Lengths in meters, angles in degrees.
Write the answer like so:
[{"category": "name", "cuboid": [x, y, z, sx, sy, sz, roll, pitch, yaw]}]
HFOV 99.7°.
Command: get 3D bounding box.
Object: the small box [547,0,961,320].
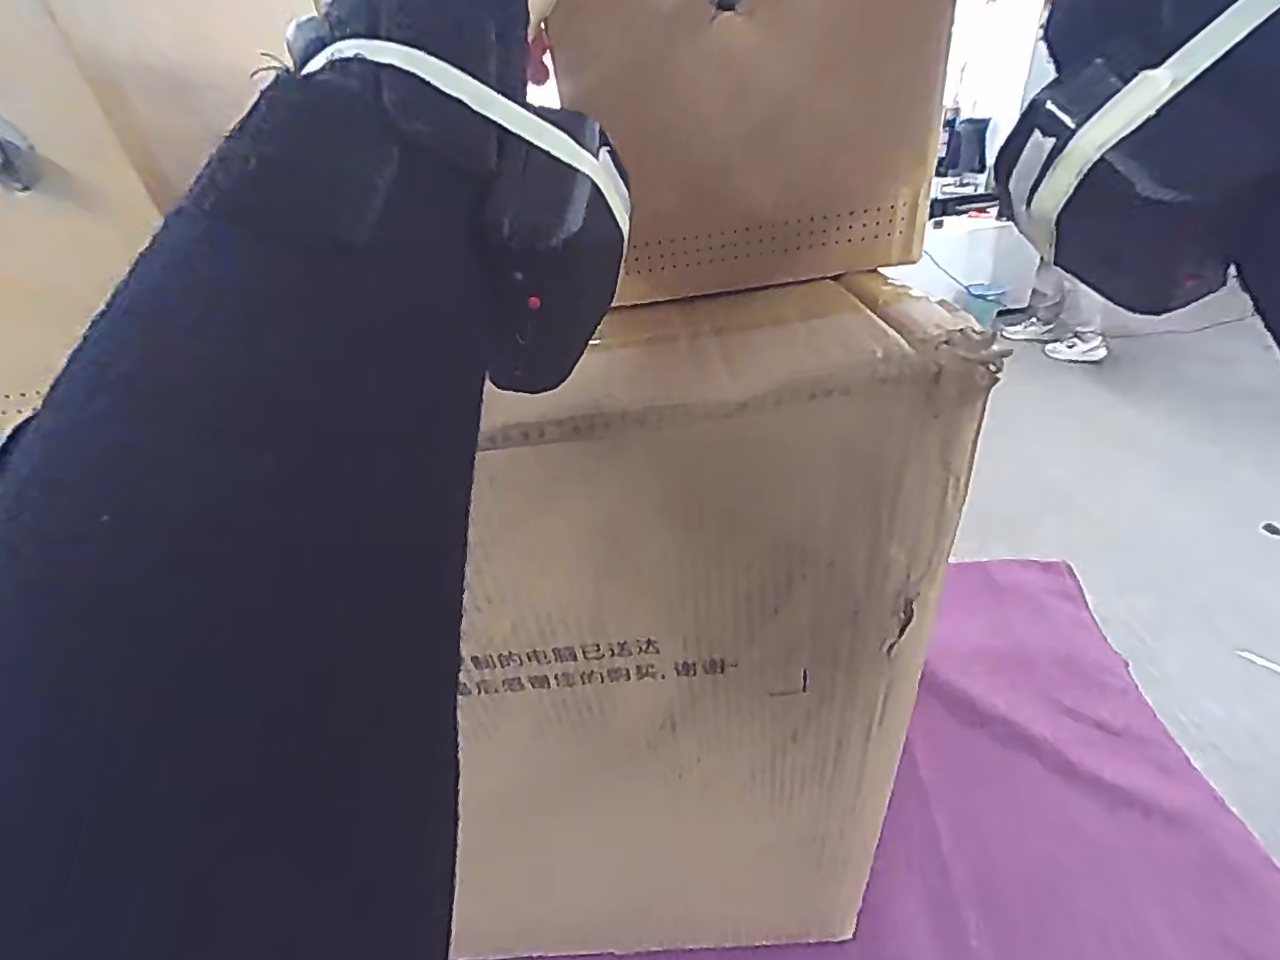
[{"category": "small box", "cuboid": [0.058, -0.207, 0.314, 0.179, 0.176, 0.168, -6, 34, 6]}]
